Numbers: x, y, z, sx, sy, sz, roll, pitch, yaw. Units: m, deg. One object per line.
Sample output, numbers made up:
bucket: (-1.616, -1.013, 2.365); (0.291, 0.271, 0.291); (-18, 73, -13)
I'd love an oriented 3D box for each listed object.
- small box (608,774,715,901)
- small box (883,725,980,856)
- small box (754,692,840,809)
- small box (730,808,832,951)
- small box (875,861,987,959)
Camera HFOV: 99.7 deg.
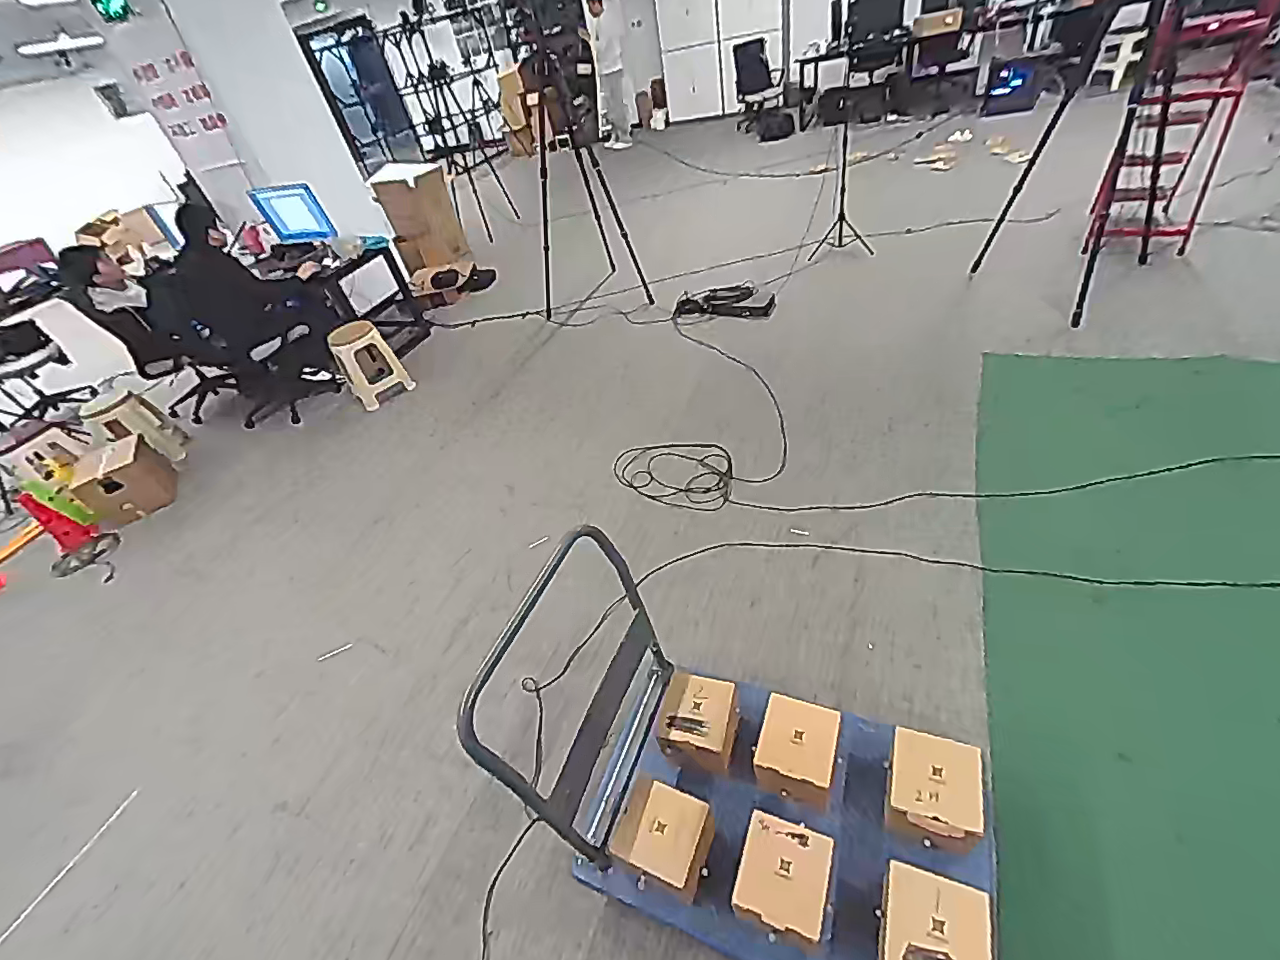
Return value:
small box: (0.056, 0.804, 1.214); (0.179, 0.176, 0.168); (10, 47, 25)
small box: (0.632, 0.678, 1.183); (0.168, 0.176, 0.179); (7, 45, 25)
small box: (0.377, 0.649, 1.297); (0.168, 0.176, 0.179); (8, 48, 24)
small box: (0.297, 0.826, 1.117); (0.168, 0.176, 0.179); (9, 46, 25)
small box: (0.544, 0.869, 1.020); (0.168, 0.176, 0.179); (7, 45, 23)
